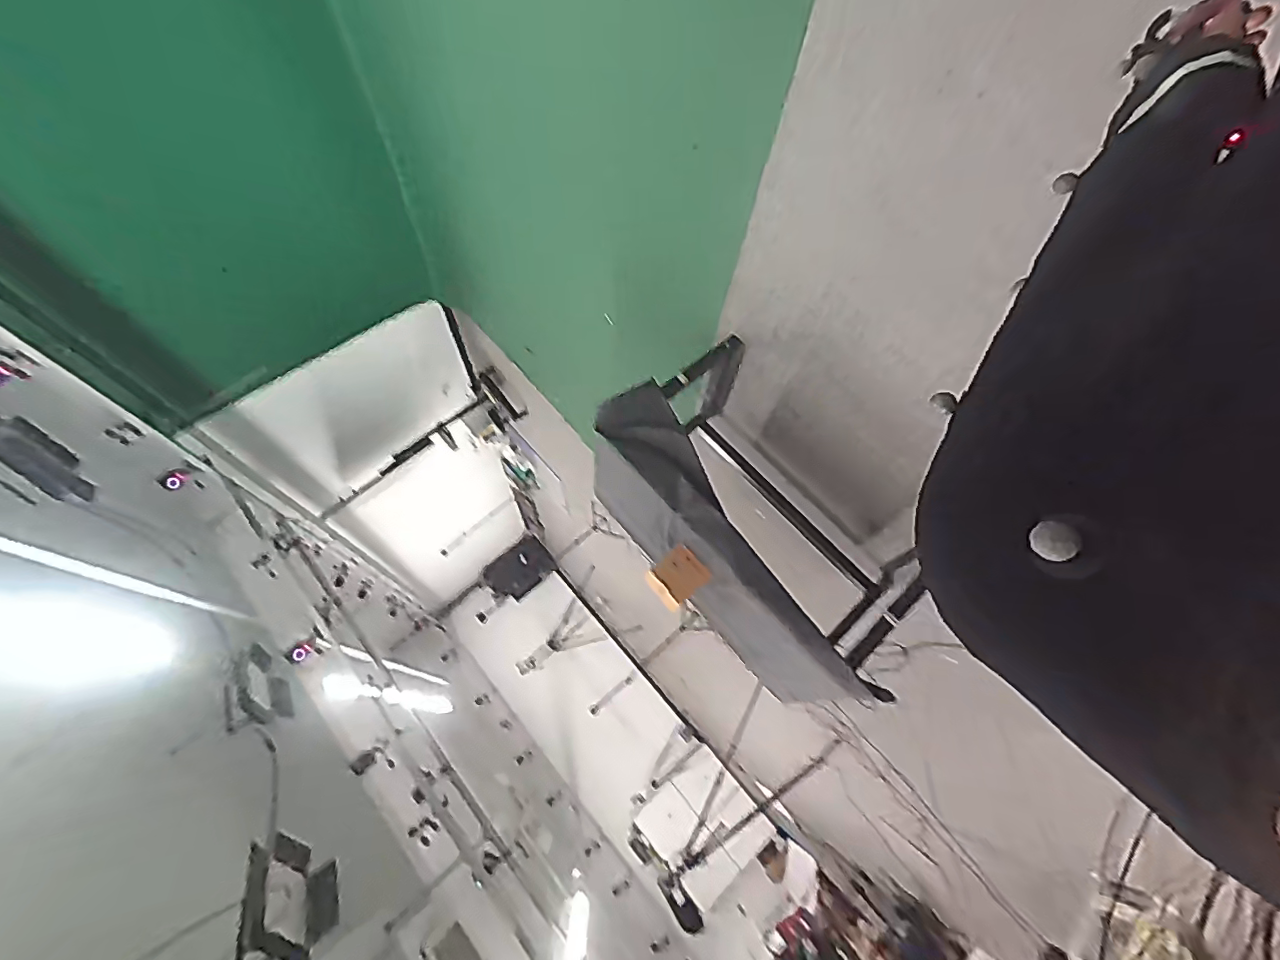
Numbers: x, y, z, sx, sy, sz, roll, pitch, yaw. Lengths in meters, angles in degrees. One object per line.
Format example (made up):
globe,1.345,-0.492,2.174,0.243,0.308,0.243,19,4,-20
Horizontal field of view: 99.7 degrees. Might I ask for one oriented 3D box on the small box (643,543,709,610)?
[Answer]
small box,0.135,0.355,2.002,0.168,0.176,0.179,50,162,12
